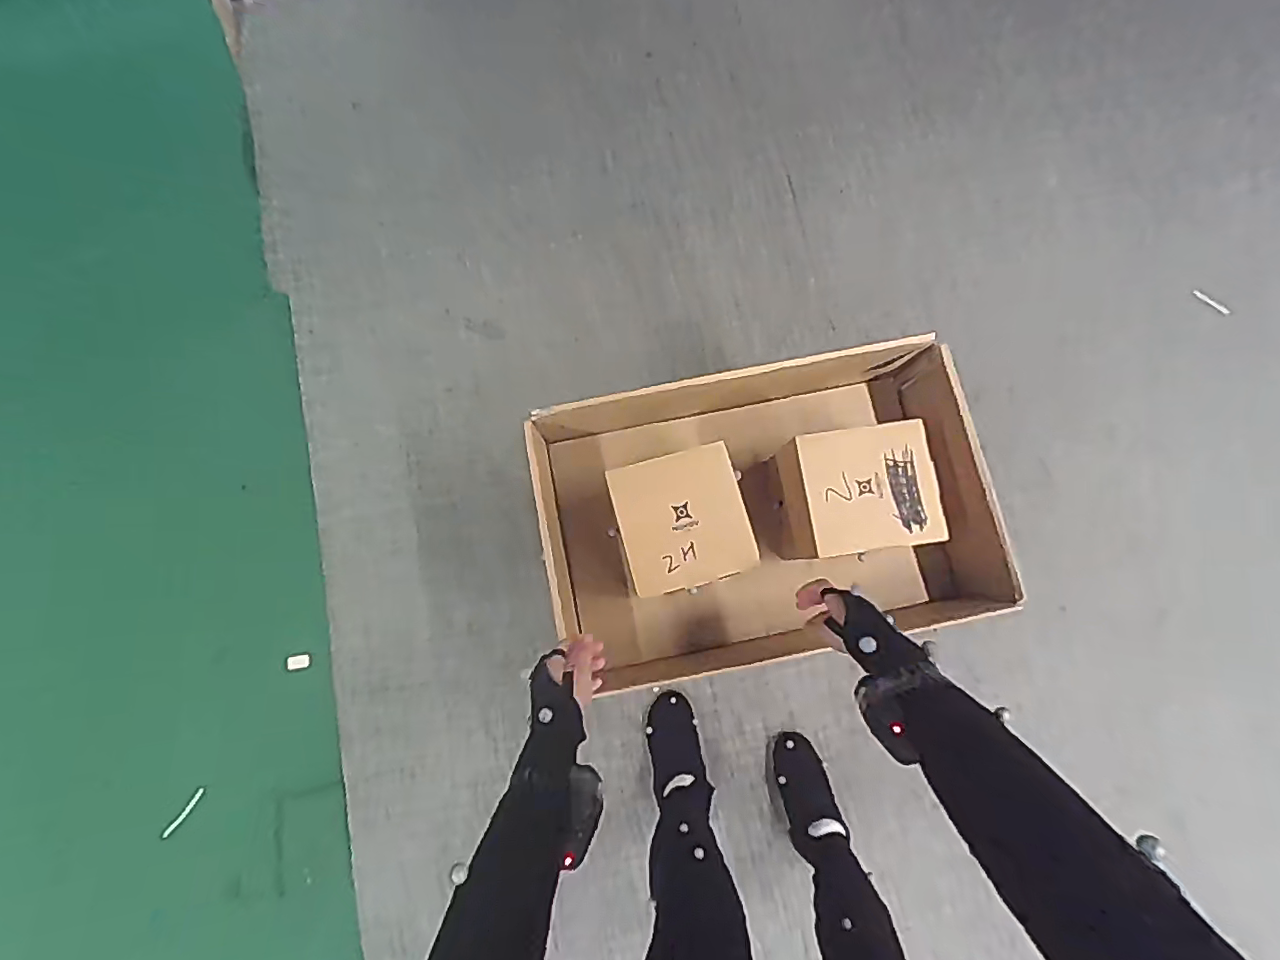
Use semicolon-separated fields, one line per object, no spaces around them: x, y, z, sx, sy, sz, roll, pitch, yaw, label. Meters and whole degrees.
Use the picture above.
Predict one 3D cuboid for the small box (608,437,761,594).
0.055;0.058;0.775;0.168;0.176;0.179;-15;81;-3;small box
